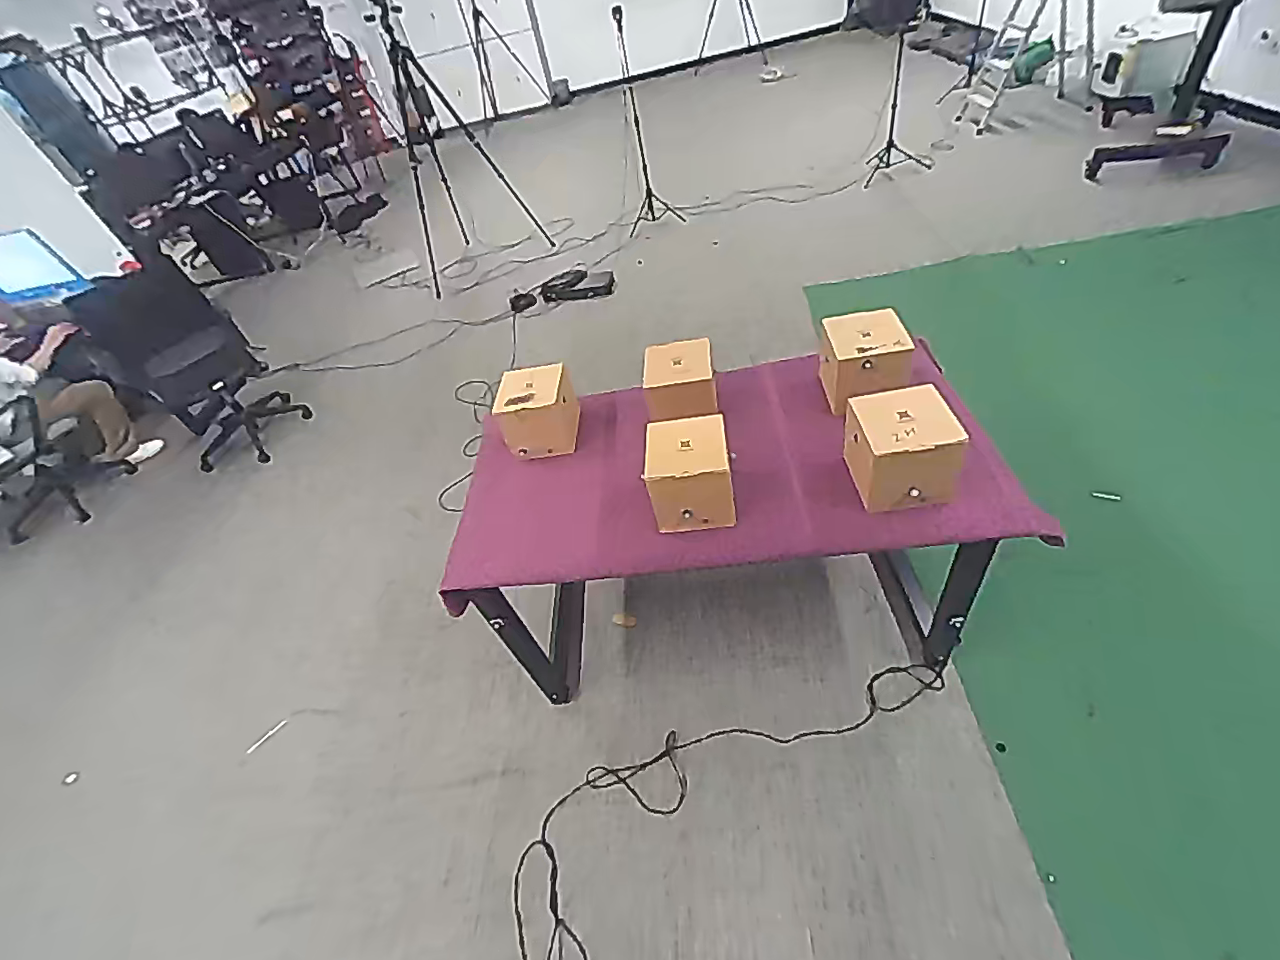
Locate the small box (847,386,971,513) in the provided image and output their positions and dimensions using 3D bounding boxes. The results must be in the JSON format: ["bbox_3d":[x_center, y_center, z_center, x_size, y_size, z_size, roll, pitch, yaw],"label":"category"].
[{"bbox_3d":[0.521,-0.059,1.079,0.168,0.176,0.179,-9,46,9],"label":"small box"}]

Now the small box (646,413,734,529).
[{"bbox_3d":[0.109,-0.017,1.149,0.168,0.176,0.179,-5,46,9],"label":"small box"}]

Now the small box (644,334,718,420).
[{"bbox_3d":[0.107,-0.241,1.360,0.168,0.176,0.179,-5,48,10],"label":"small box"}]

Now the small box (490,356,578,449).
[{"bbox_3d":[-0.265,-0.193,1.402,0.168,0.176,0.179,-6,47,8],"label":"small box"}]

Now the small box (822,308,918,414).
[{"bbox_3d":[0.536,-0.281,1.288,0.168,0.176,0.179,-7,46,9],"label":"small box"}]
